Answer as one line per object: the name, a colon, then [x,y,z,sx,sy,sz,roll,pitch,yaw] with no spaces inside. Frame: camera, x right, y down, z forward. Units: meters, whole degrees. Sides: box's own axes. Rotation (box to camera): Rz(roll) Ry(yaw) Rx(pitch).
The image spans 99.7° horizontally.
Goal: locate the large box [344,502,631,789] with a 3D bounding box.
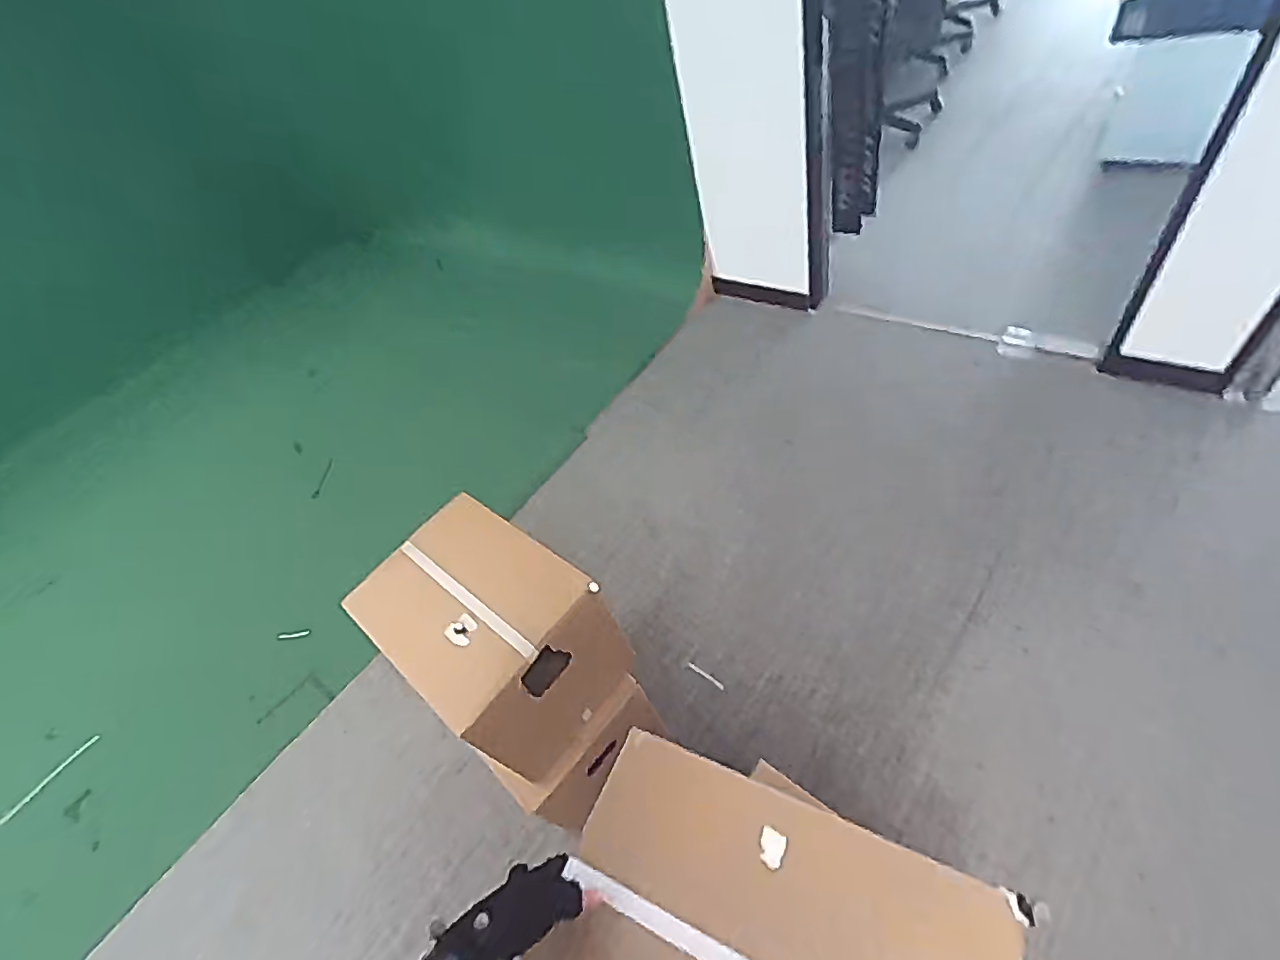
large box: [-0.285,0.313,1.075,0.408,0.320,0.320,27,60,34]
